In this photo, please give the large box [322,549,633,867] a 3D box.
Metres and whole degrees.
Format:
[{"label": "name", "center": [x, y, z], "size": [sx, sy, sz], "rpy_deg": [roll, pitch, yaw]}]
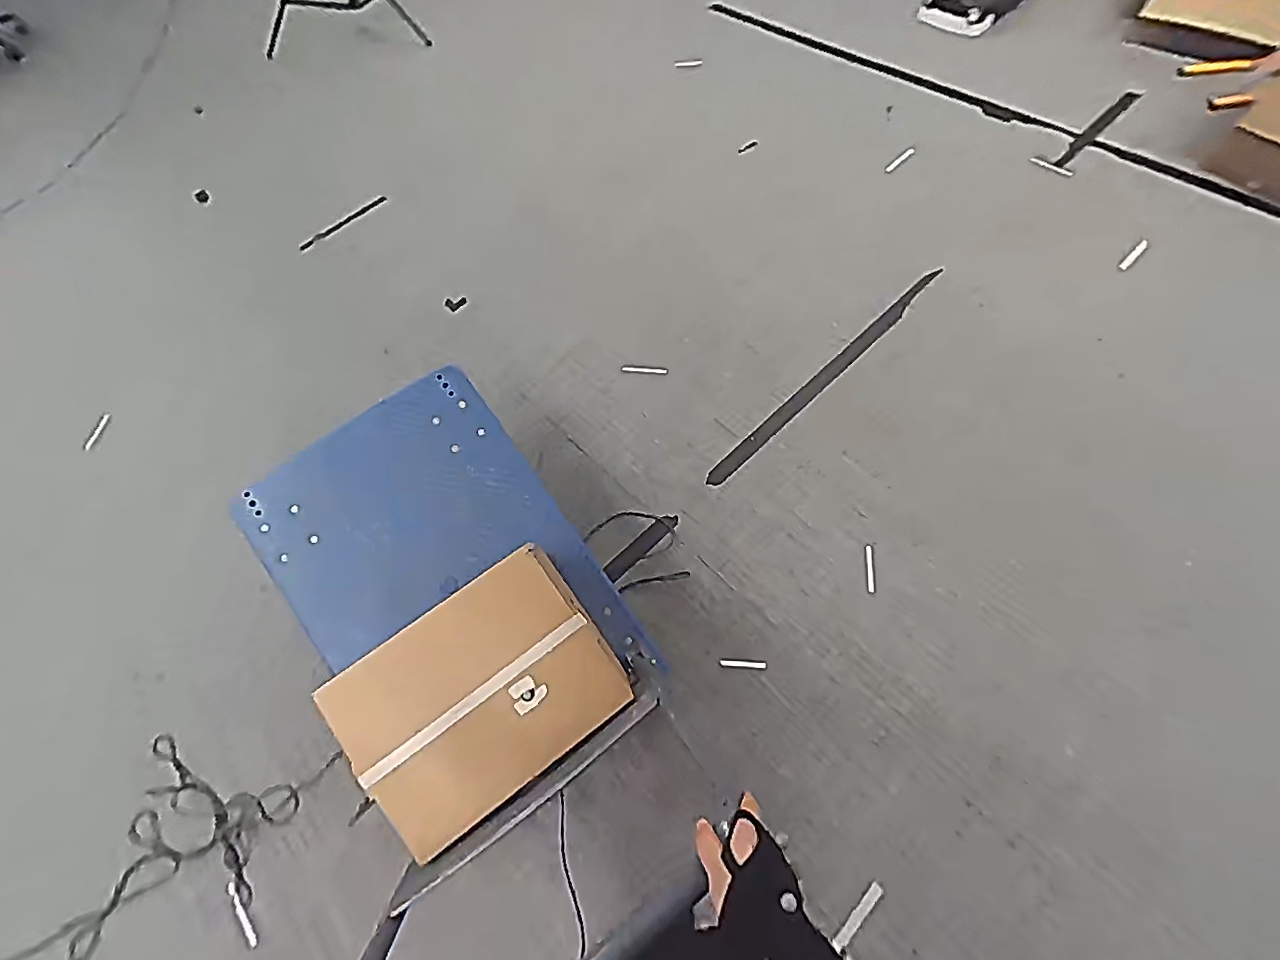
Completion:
[{"label": "large box", "center": [-0.271, 0.383, 1.013], "size": [0.408, 0.320, 0.320], "rpy_deg": [-36, 85, -12]}]
